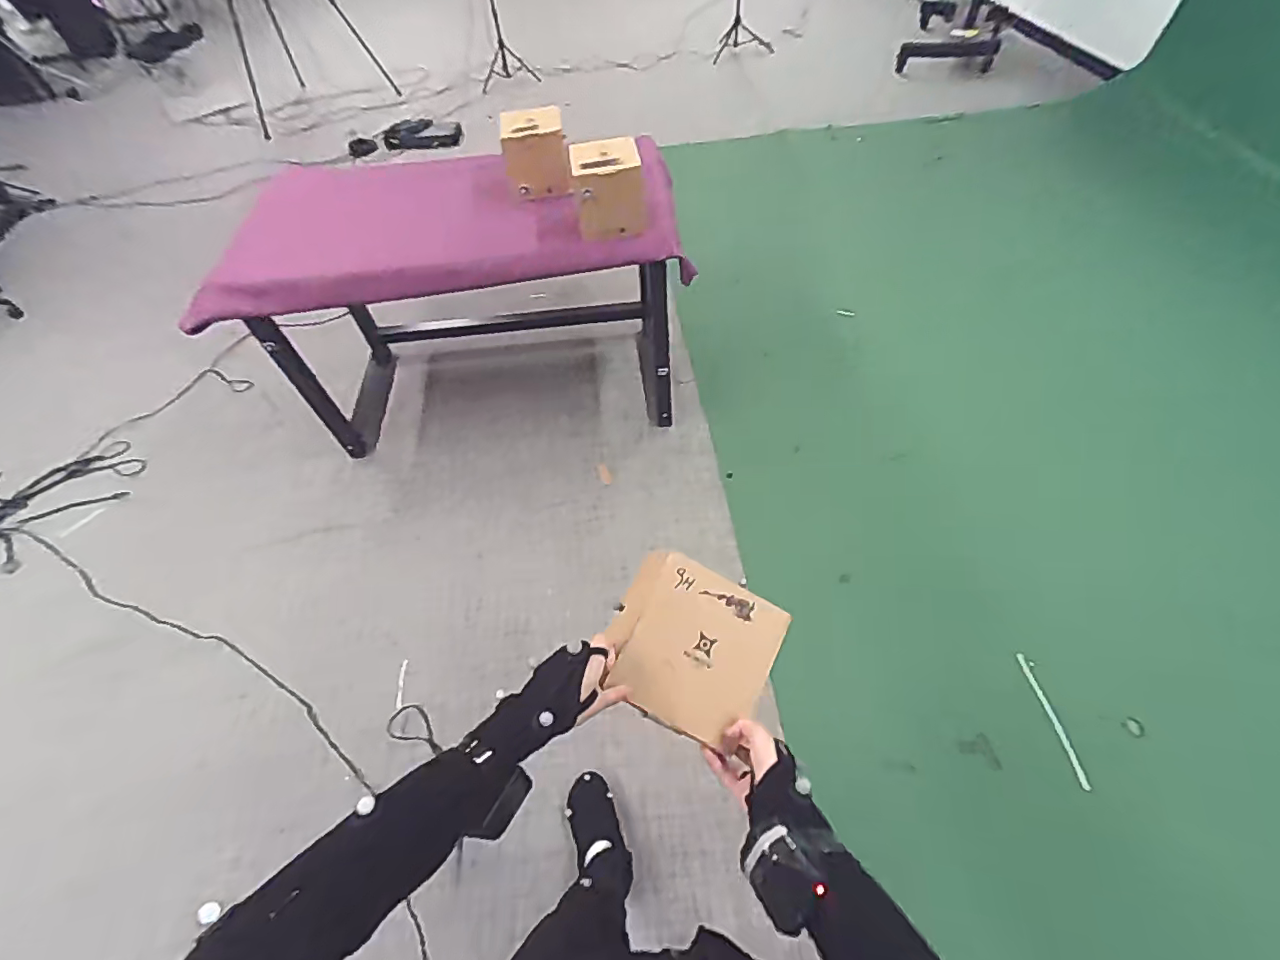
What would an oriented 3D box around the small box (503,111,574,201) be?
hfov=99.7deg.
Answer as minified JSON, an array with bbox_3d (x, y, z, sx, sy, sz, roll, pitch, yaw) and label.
[{"bbox_3d":[-0.284,-0.910,1.532,0.168,0.176,0.179,-8,53,-1],"label":"small box"}]

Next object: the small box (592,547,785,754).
[{"bbox_3d":[0.049,0.202,0.684,0.168,0.176,0.179,30,77,-4],"label":"small box"}]
